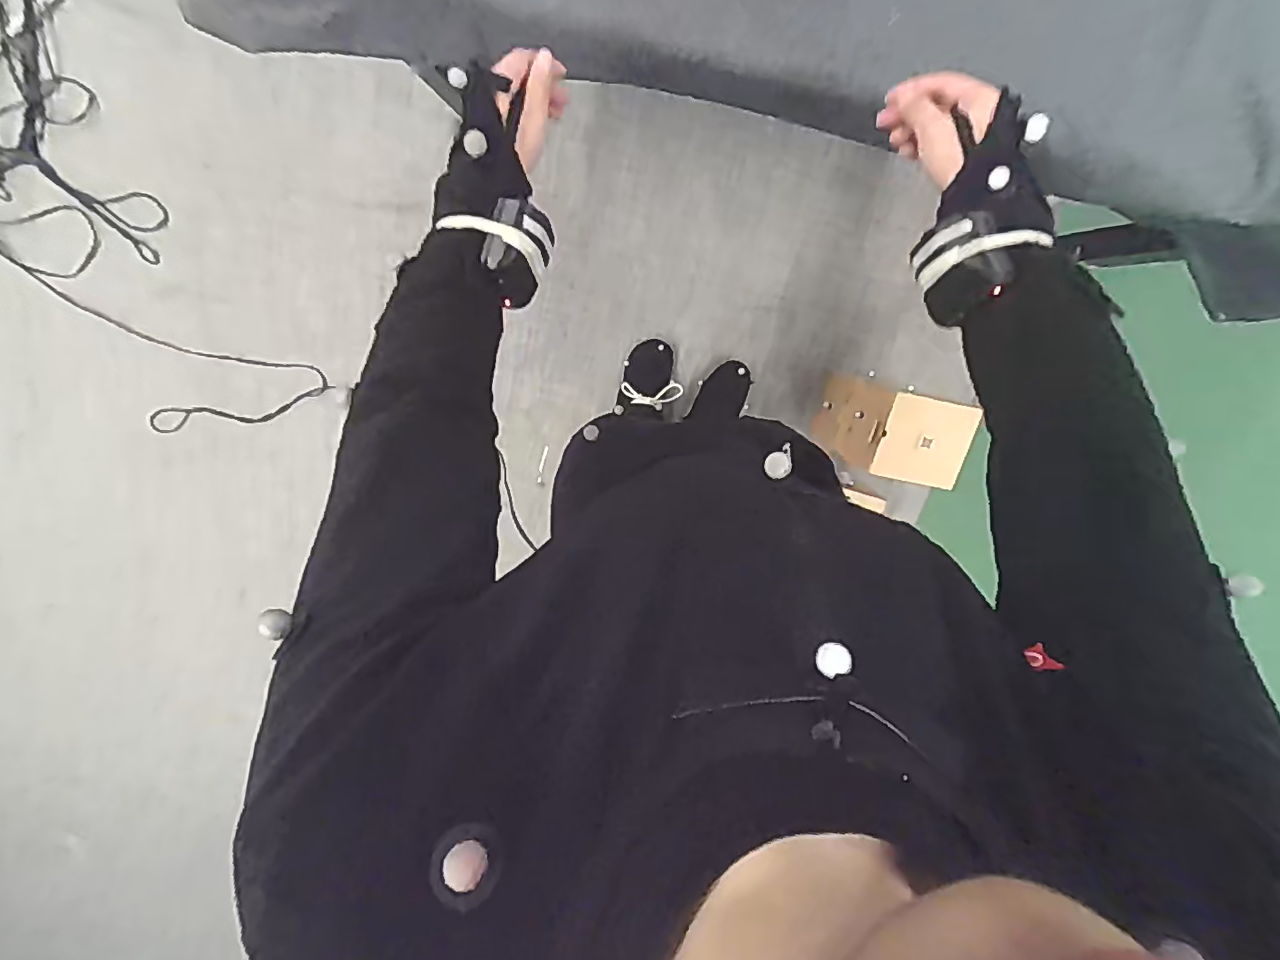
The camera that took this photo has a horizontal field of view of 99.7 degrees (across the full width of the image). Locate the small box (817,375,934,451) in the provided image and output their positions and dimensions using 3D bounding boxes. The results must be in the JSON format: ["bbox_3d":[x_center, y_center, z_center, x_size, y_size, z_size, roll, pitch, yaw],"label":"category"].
[{"bbox_3d":[0.534,-0.145,1.254,0.179,0.176,0.168,12,106,-3],"label":"small box"}]

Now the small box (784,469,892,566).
[{"bbox_3d":[0.476,0.085,1.327,0.179,0.176,0.168,16,106,-2],"label":"small box"}]

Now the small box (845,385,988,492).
[{"bbox_3d":[0.549,-0.091,1.098,0.179,0.176,0.168,11,107,-2],"label":"small box"}]
